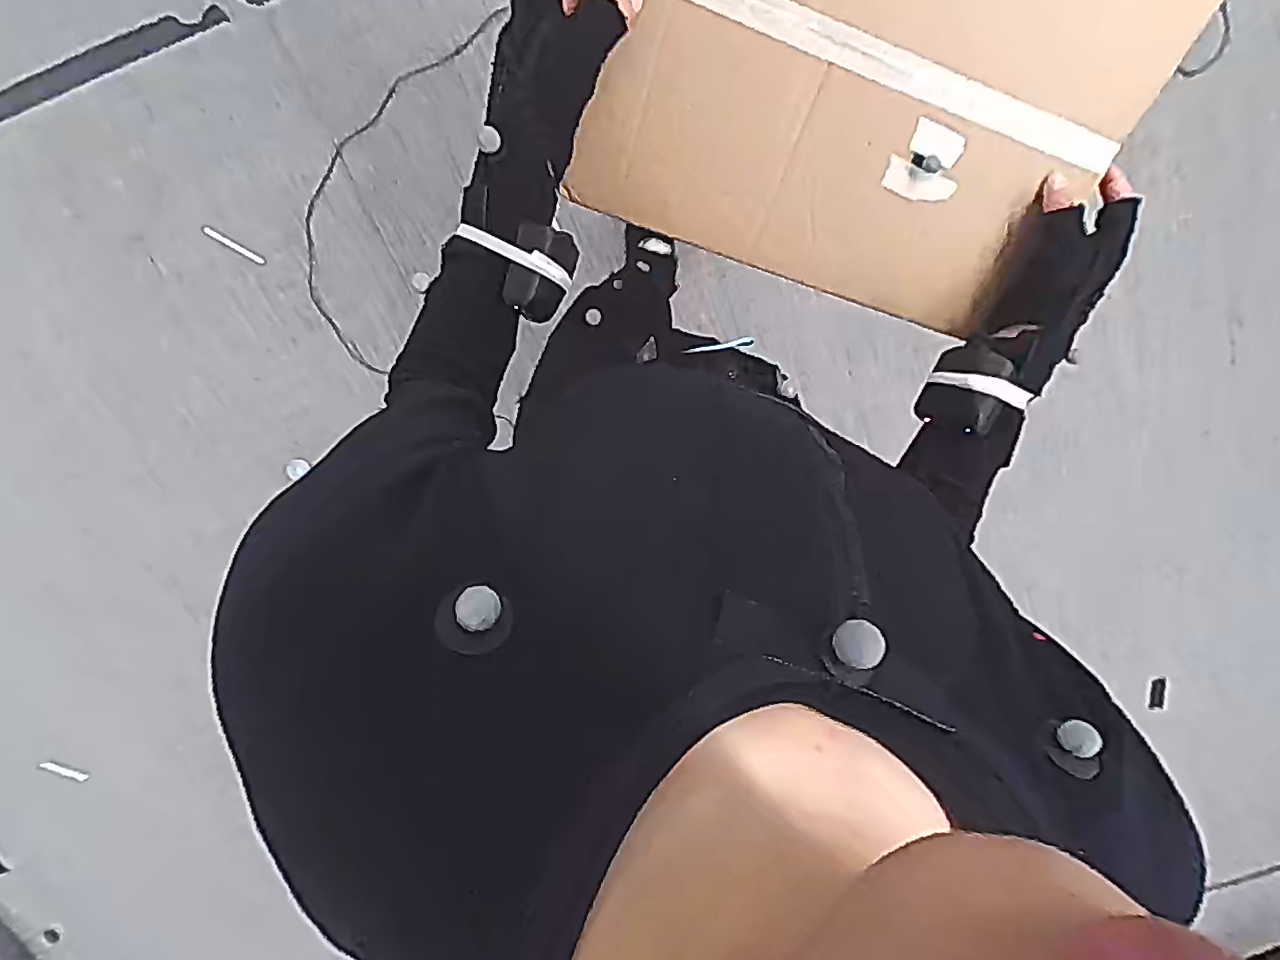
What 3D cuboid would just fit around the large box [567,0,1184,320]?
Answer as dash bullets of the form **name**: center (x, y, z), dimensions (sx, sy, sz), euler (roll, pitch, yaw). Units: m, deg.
- **large box**: center (0.167, -0.402, 0.524), dimensions (0.408, 0.320, 0.320), euler (15, 125, -11)
